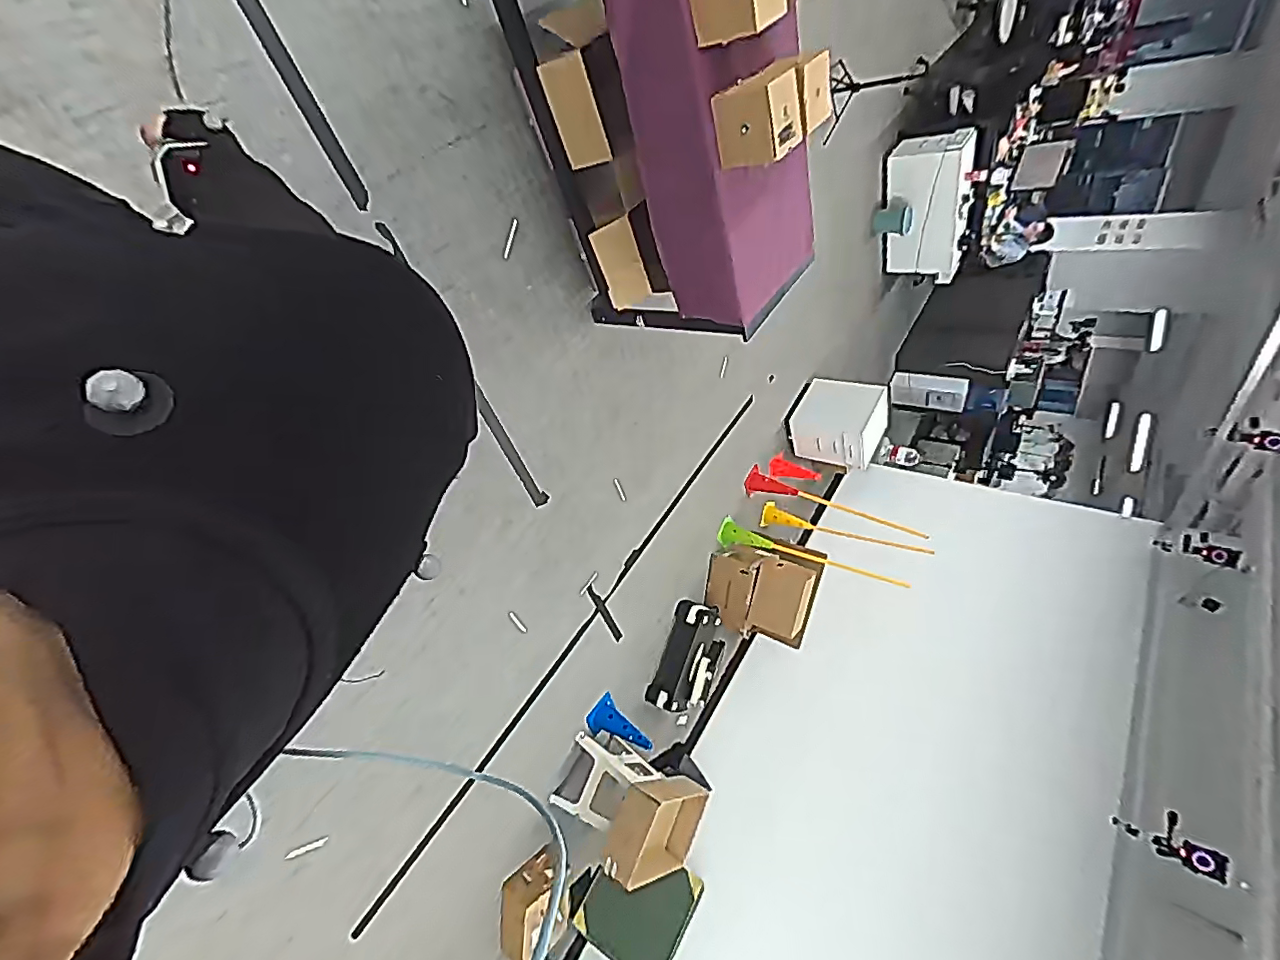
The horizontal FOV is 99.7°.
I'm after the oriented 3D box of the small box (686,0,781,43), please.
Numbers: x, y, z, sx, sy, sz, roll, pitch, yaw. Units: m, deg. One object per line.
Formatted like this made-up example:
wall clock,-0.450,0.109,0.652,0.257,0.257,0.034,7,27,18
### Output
small box,0.212,-1.177,1.275,0.168,0.176,0.179,-52,140,-28
